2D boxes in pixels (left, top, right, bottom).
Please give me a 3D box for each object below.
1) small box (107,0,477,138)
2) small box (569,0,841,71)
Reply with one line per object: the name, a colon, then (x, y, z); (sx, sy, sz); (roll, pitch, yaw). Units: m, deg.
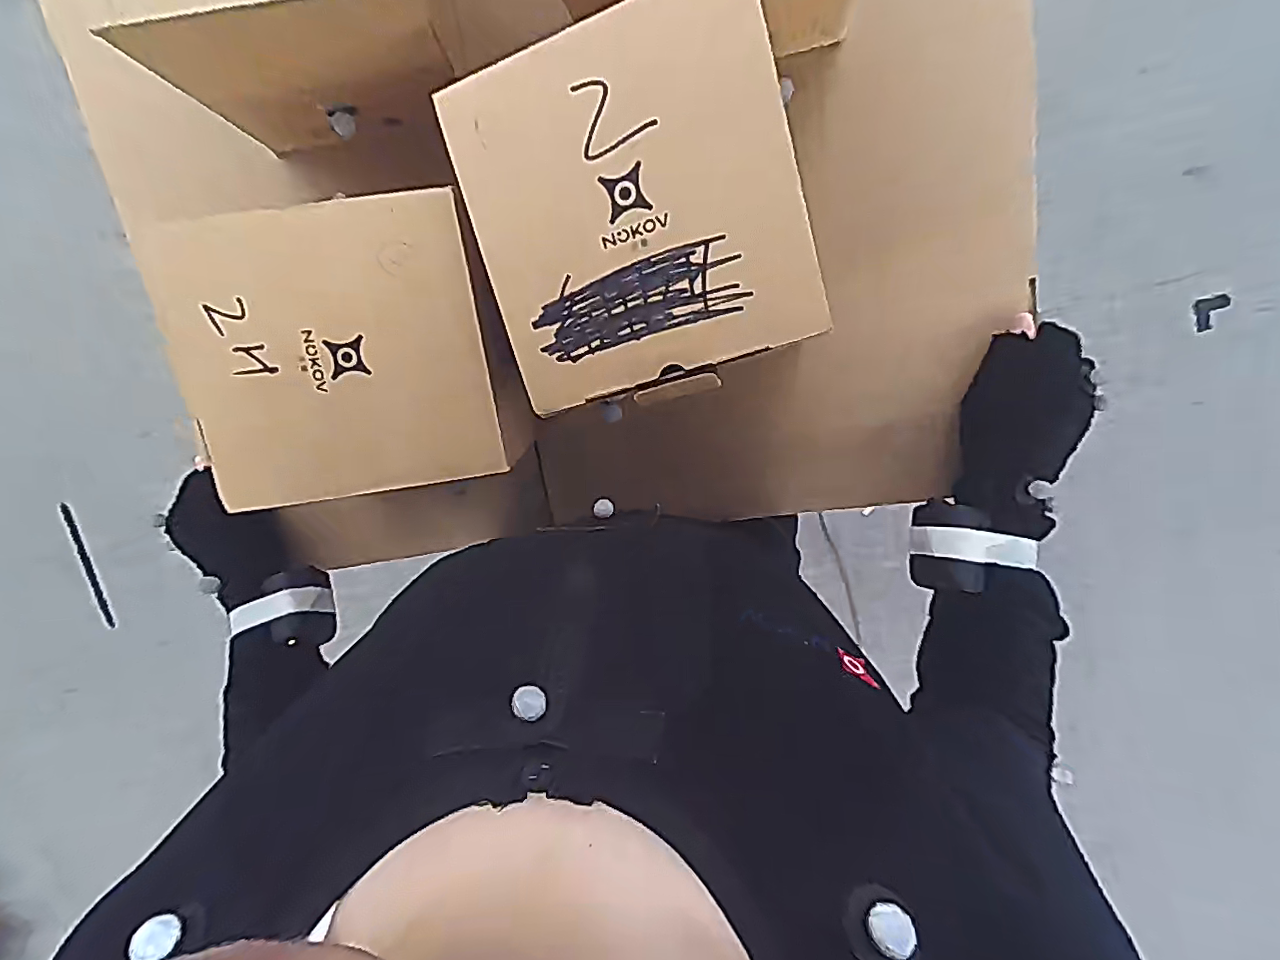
small box: (-0.218, -0.354, 0.337); (0.168, 0.176, 0.179); (-12, 102, 0)
small box: (0.031, -0.365, 0.296); (0.168, 0.176, 0.179); (-5, 102, 13)
